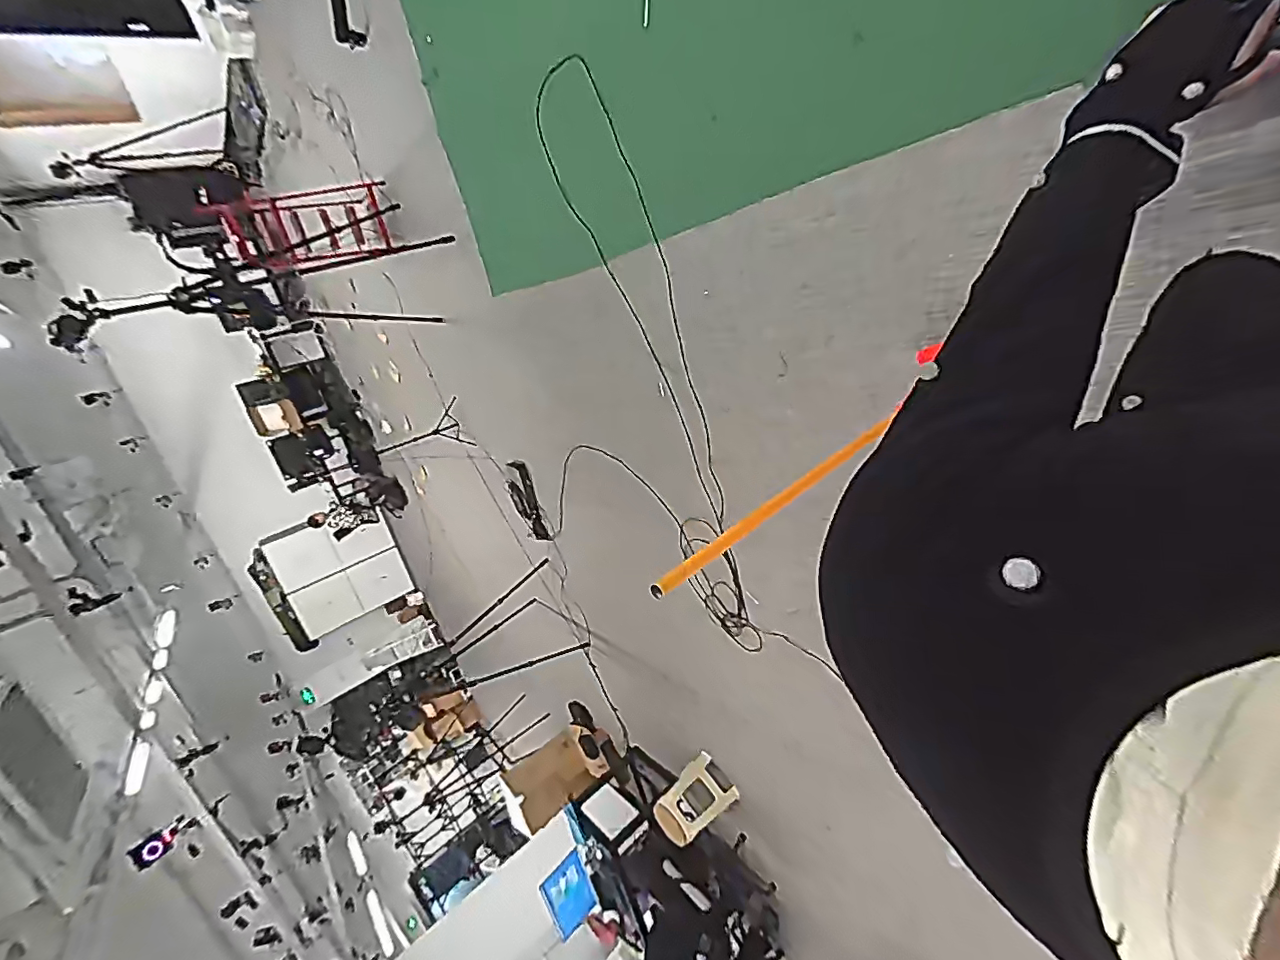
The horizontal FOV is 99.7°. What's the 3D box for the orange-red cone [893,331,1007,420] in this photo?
[{"bbox_3d":[0.762,-0.228,1.406,0.199,0.360,0.198,-14,101,58],"label":"orange-red cone"}]
